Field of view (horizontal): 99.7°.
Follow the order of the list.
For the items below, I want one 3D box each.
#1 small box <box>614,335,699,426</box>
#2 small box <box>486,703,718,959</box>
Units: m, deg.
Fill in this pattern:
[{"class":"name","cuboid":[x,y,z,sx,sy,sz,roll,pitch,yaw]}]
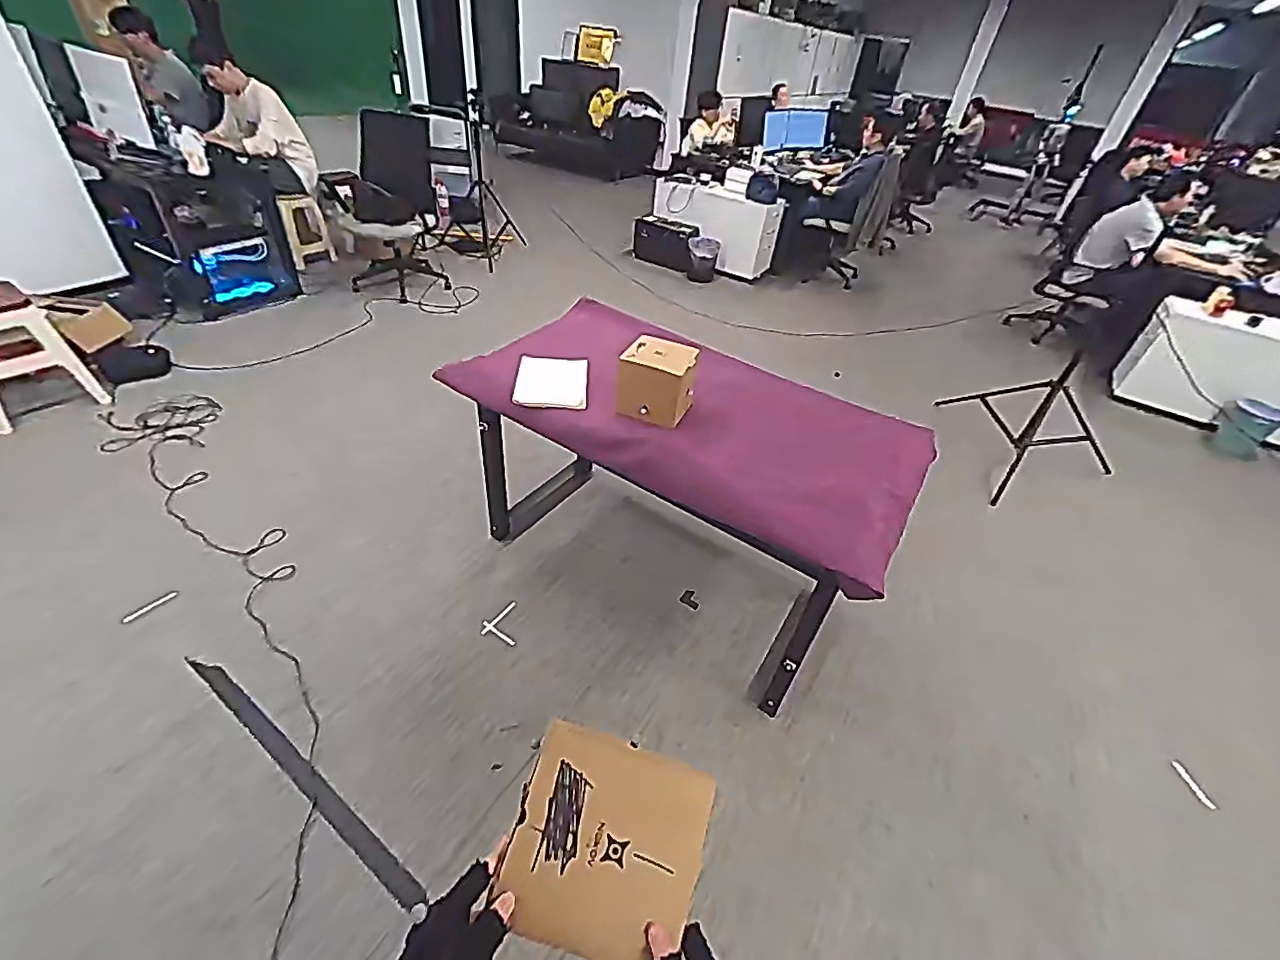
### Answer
[{"class":"small box","cuboid":[0.043,-0.269,1.481,0.179,0.176,0.168,19,40,13]},{"class":"small box","cuboid":[-0.040,0.349,0.569,0.179,0.176,0.168,19,65,-1]}]
